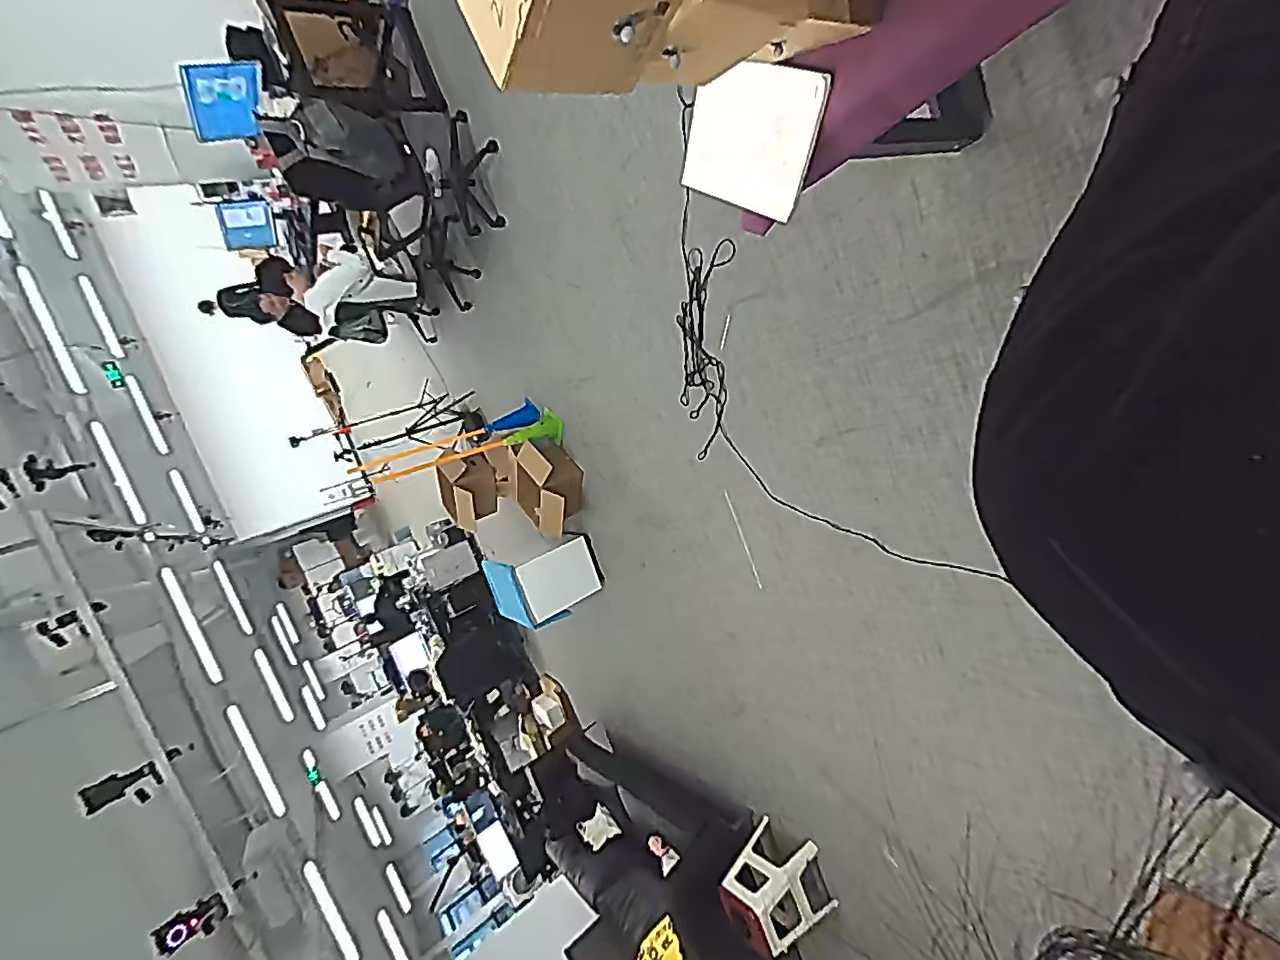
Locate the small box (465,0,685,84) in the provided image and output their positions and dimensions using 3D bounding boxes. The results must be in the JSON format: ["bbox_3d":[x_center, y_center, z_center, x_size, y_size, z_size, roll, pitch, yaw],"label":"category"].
[{"bbox_3d":[-0.068,-0.518,0.519,0.168,0.176,0.179,-25,89,60],"label":"small box"}]

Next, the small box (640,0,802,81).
[{"bbox_3d":[0.064,-0.574,0.600,0.179,0.176,0.168,14,122,53],"label":"small box"}]
